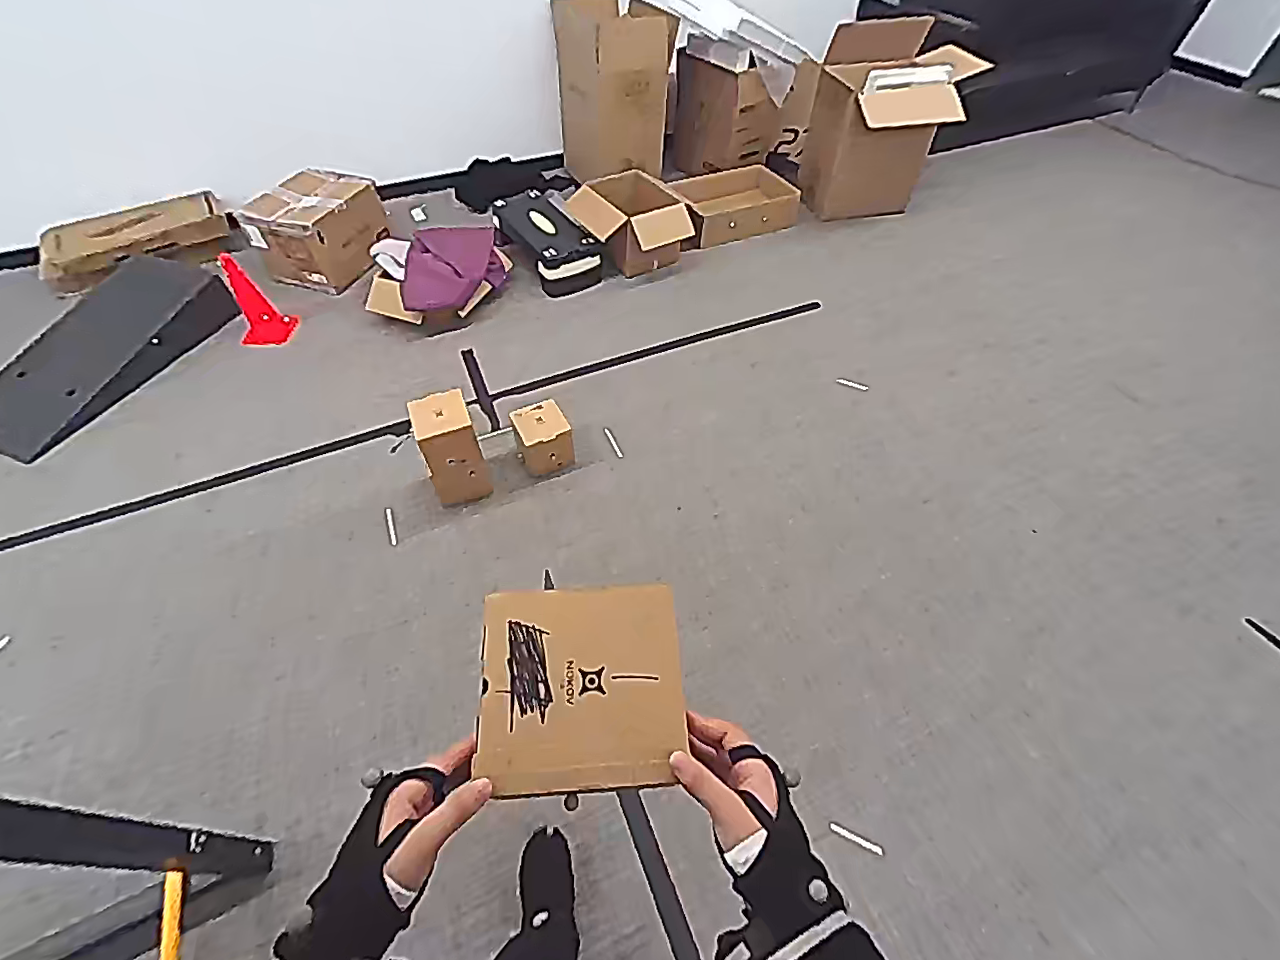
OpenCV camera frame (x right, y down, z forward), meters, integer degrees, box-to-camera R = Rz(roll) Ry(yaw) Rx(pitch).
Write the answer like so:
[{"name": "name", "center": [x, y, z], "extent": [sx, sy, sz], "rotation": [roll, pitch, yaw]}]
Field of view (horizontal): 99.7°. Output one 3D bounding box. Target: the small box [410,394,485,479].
[{"name": "small box", "center": [-0.600, -0.134, 1.691], "extent": [0.168, 0.176, 0.179], "rotation": [-20, 55, -14]}]

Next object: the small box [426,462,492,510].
[{"name": "small box", "center": [-0.606, -0.027, 1.813], "extent": [0.179, 0.176, 0.168], "rotation": [-18, 54, -14]}]

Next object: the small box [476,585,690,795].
[{"name": "small box", "center": [-0.052, 0.215, 0.543], "extent": [0.179, 0.176, 0.168], "rotation": [-2, 59, -5]}]

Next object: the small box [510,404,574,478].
[{"name": "small box", "center": [-0.340, -0.130, 1.900], "extent": [0.168, 0.176, 0.179], "rotation": [-22, 56, -17]}]
